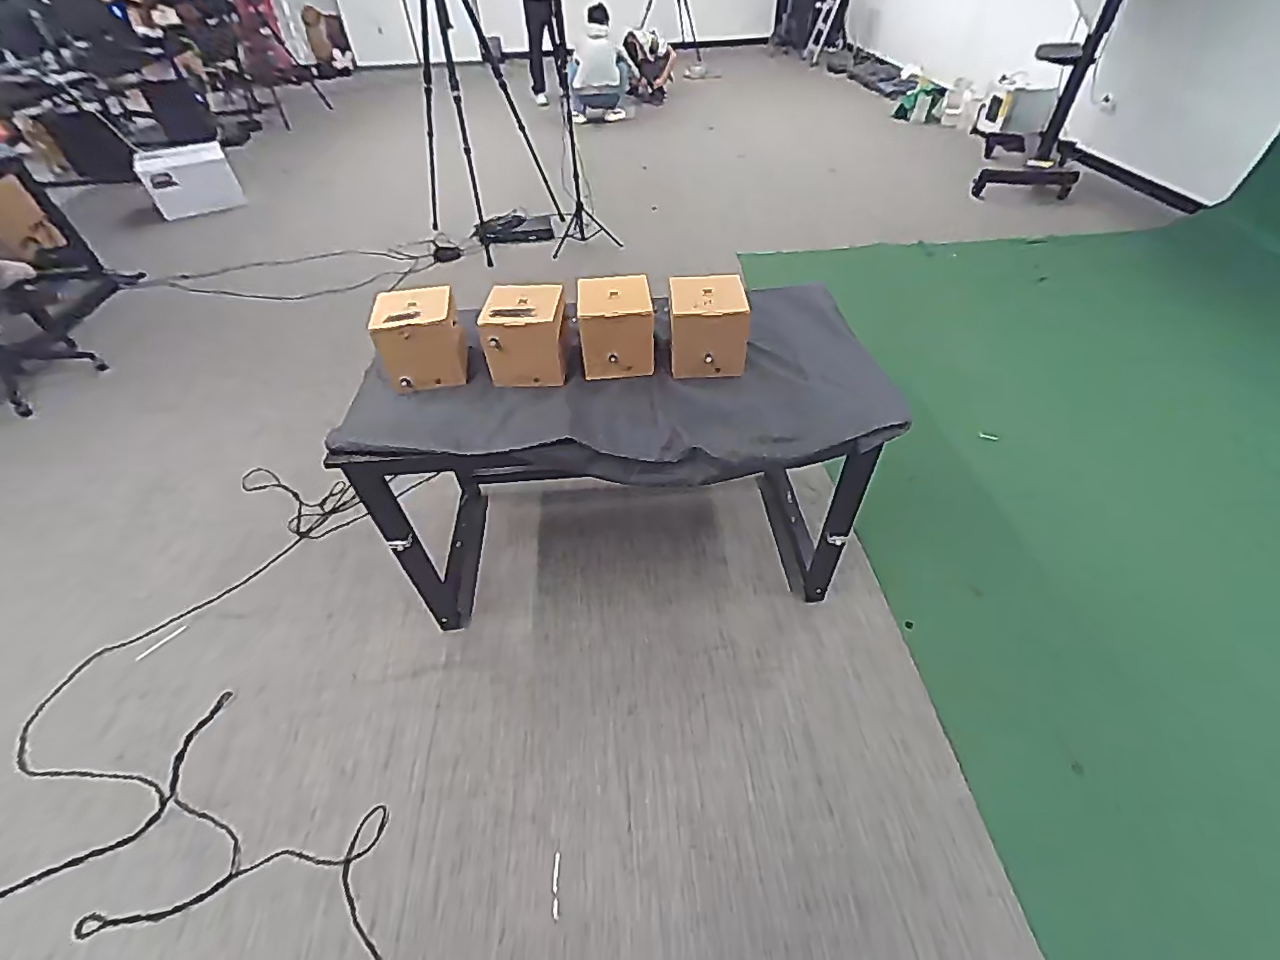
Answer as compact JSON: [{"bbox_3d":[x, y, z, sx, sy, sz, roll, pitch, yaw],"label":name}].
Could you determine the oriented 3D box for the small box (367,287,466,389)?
[{"bbox_3d":[-0.509,-0.324,1.260,0.168,0.176,0.179,-9,45,-7],"label":"small box"}]
